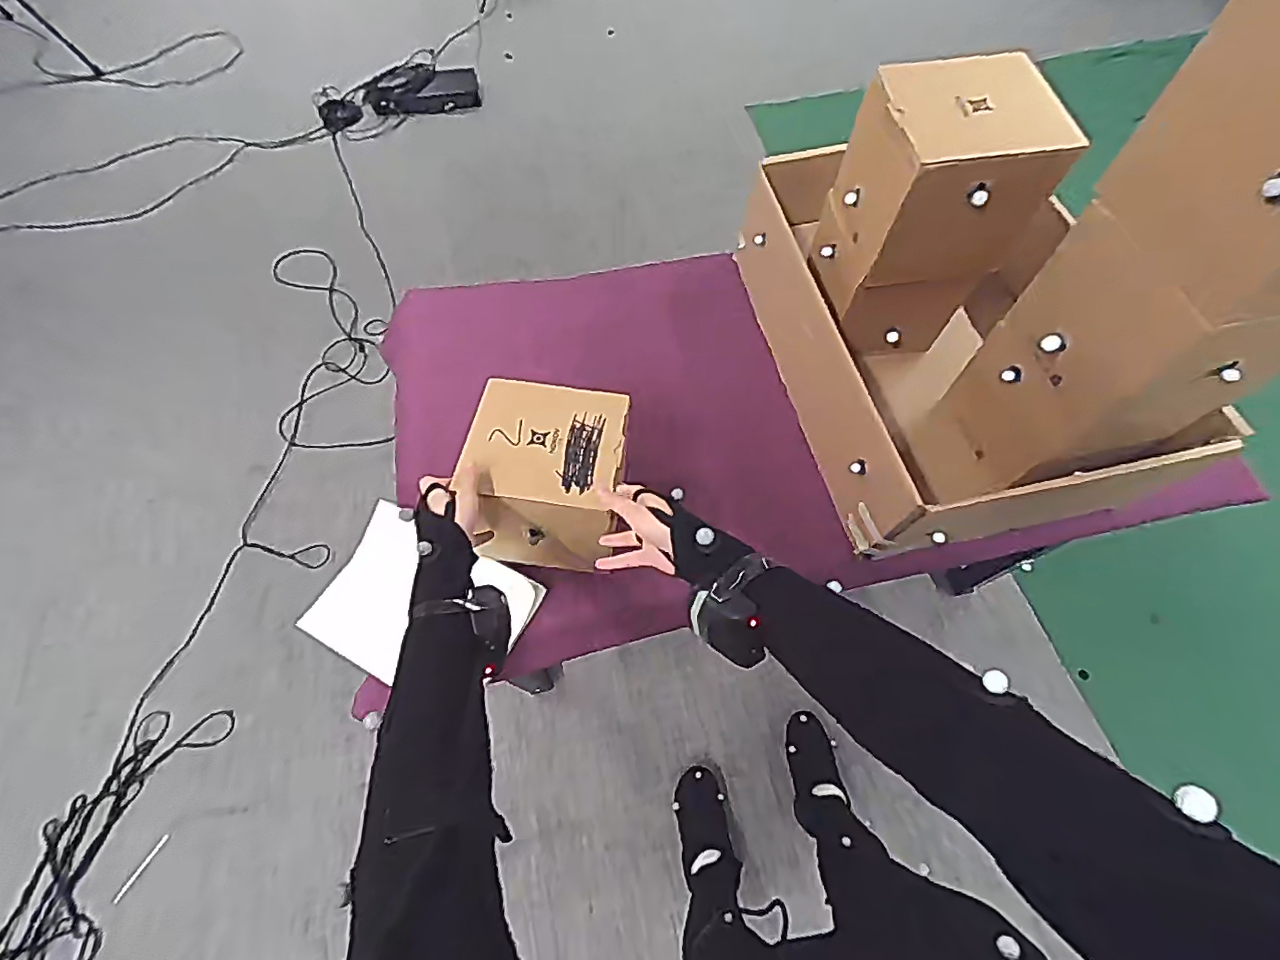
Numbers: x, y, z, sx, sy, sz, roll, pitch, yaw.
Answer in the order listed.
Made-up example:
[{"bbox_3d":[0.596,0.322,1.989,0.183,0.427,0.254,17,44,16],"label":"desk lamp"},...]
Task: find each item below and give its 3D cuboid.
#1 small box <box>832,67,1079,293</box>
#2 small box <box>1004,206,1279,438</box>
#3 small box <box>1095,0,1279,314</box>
[{"bbox_3d":[0.356,-0.351,0.652,0.179,0.176,0.168,-7,65,0],"label":"small box"},{"bbox_3d":[0.523,-0.163,0.542,0.179,0.176,0.168,-11,62,-1],"label":"small box"},{"bbox_3d":[0.510,-0.243,0.401,0.168,0.176,0.179,-10,62,-2],"label":"small box"}]
